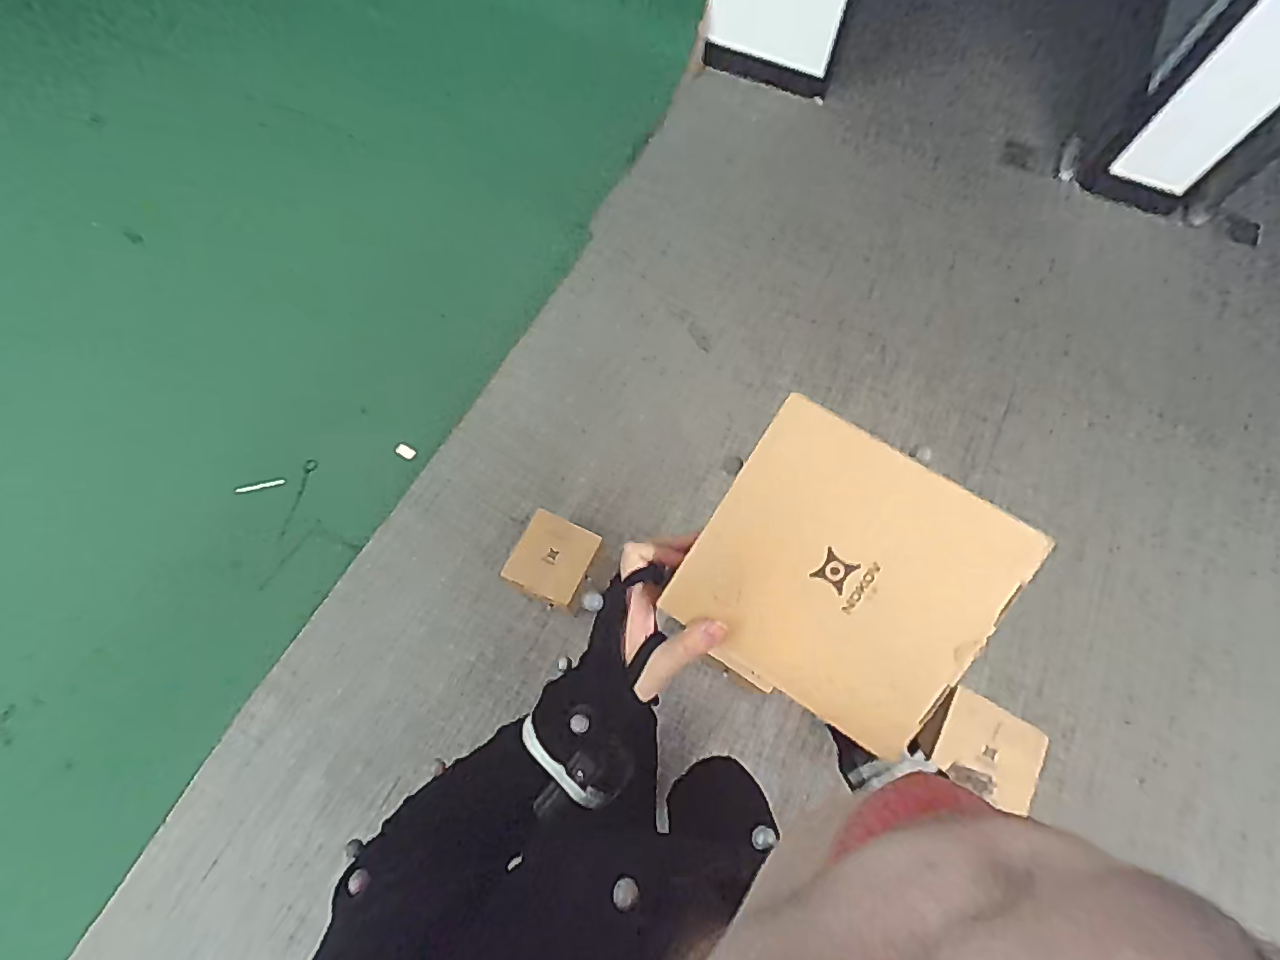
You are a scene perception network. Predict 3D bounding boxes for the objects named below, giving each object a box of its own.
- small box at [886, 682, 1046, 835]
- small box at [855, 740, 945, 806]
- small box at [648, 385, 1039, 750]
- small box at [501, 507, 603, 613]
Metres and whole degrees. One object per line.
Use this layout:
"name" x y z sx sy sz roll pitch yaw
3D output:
"small box" 0.573 0.489 0.975 0.168 0.176 0.179 30 71 11
"small box" 0.576 0.546 1.130 0.168 0.176 0.179 29 72 10
"small box" 0.133 0.052 0.410 0.179 0.176 0.168 32 97 10
"small box" -0.194 0.195 1.264 0.168 0.176 0.179 25 70 8
